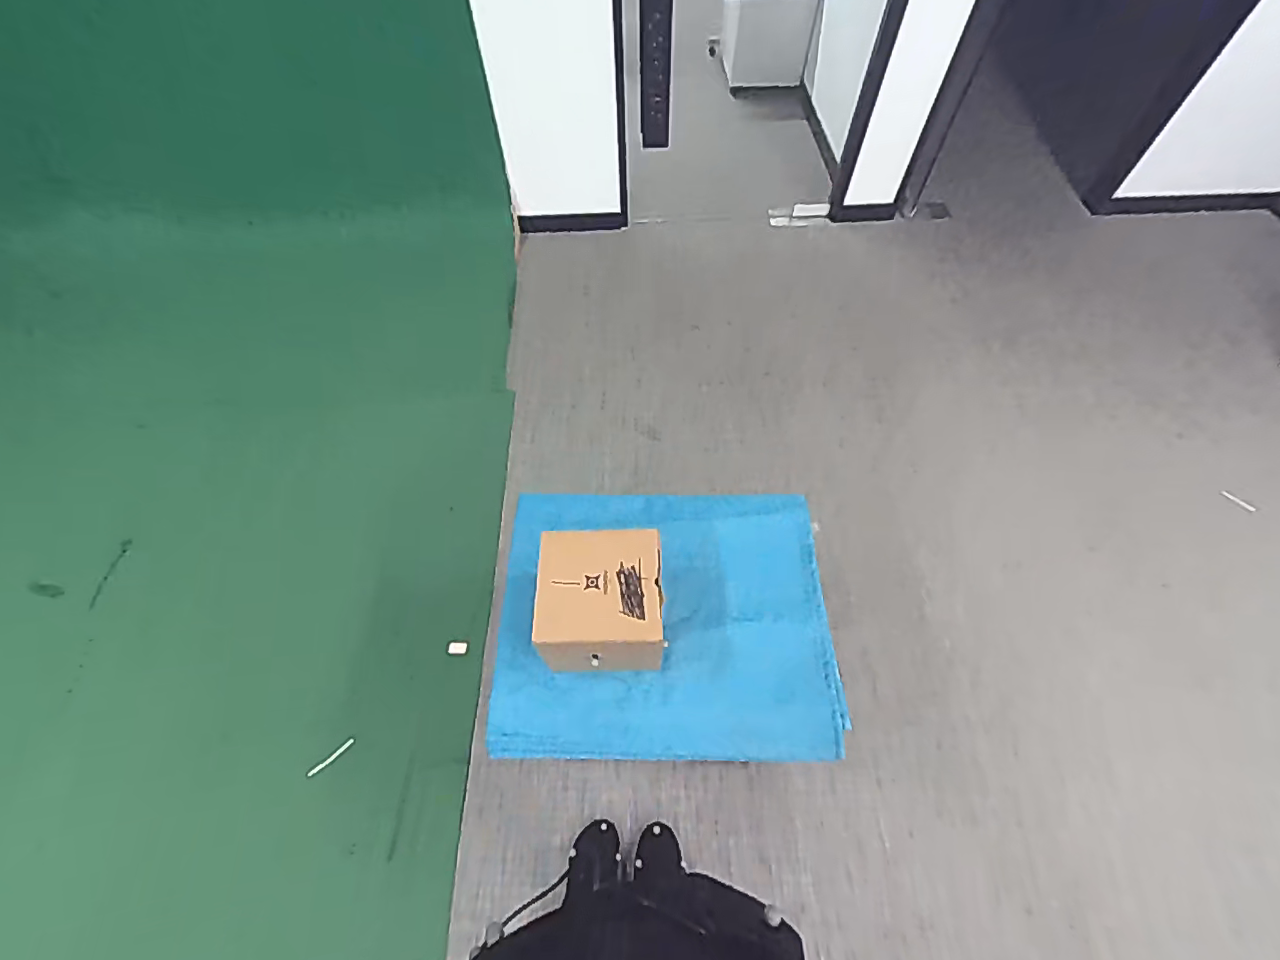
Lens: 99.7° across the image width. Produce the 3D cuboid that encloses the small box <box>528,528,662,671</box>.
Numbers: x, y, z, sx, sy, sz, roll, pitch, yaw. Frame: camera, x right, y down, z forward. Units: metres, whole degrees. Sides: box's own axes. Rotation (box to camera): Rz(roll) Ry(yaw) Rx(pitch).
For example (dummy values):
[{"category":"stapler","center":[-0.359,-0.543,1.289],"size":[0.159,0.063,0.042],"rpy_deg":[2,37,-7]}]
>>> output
[{"category":"small box","center":[-0.060,0.183,0.813],"size":[0.179,0.176,0.168],"rpy_deg":[-1,57,0]}]
